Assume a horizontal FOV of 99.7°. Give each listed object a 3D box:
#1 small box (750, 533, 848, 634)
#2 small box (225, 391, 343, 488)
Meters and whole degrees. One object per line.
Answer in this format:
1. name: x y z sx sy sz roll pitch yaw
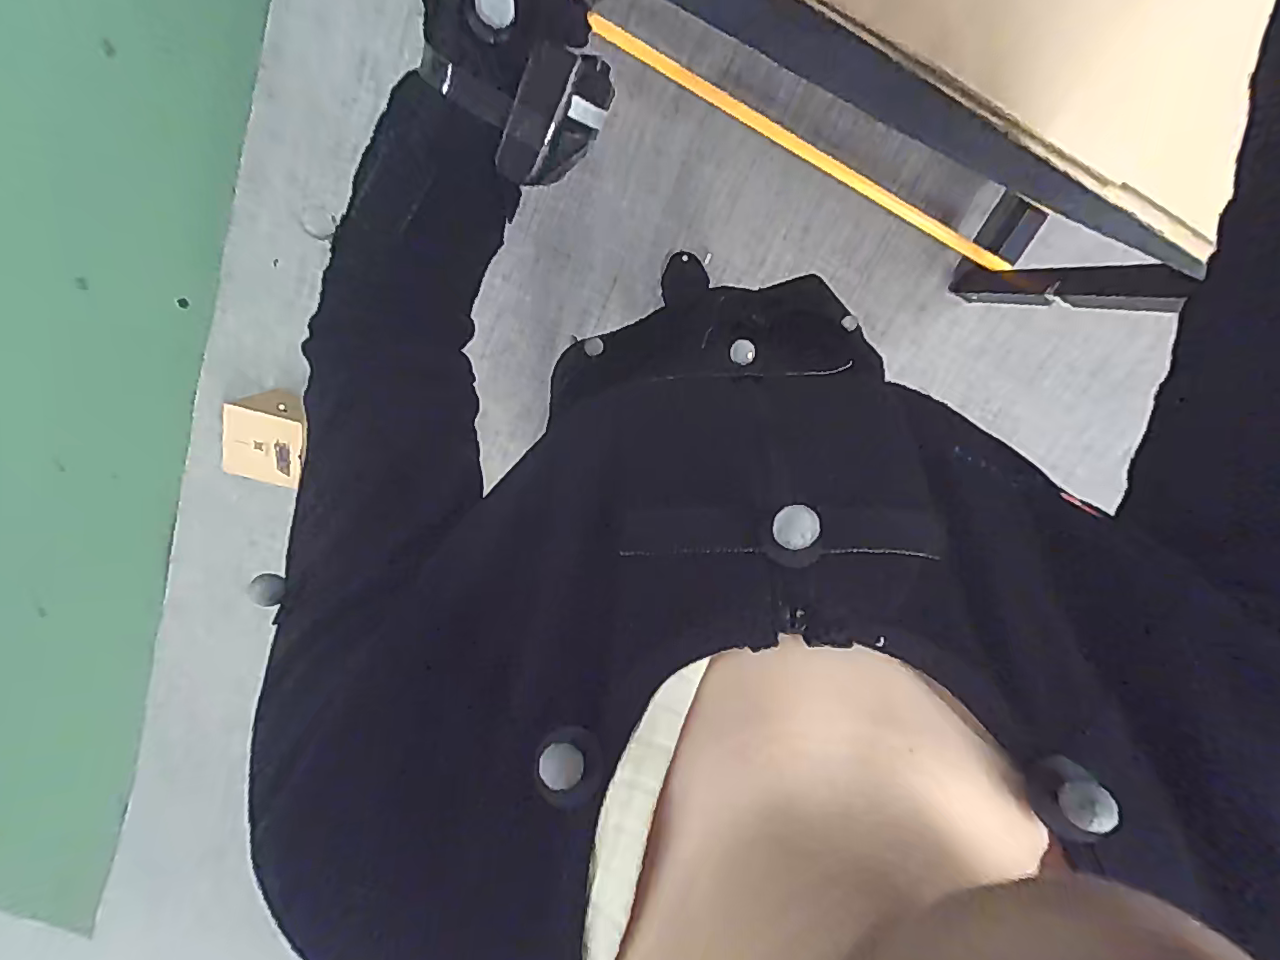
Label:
1. small box: 0.401 0.261 1.402 0.168 0.176 0.179 19 108 -7
2. small box: -0.834 -0.103 1.278 0.179 0.176 0.168 15 109 -4
